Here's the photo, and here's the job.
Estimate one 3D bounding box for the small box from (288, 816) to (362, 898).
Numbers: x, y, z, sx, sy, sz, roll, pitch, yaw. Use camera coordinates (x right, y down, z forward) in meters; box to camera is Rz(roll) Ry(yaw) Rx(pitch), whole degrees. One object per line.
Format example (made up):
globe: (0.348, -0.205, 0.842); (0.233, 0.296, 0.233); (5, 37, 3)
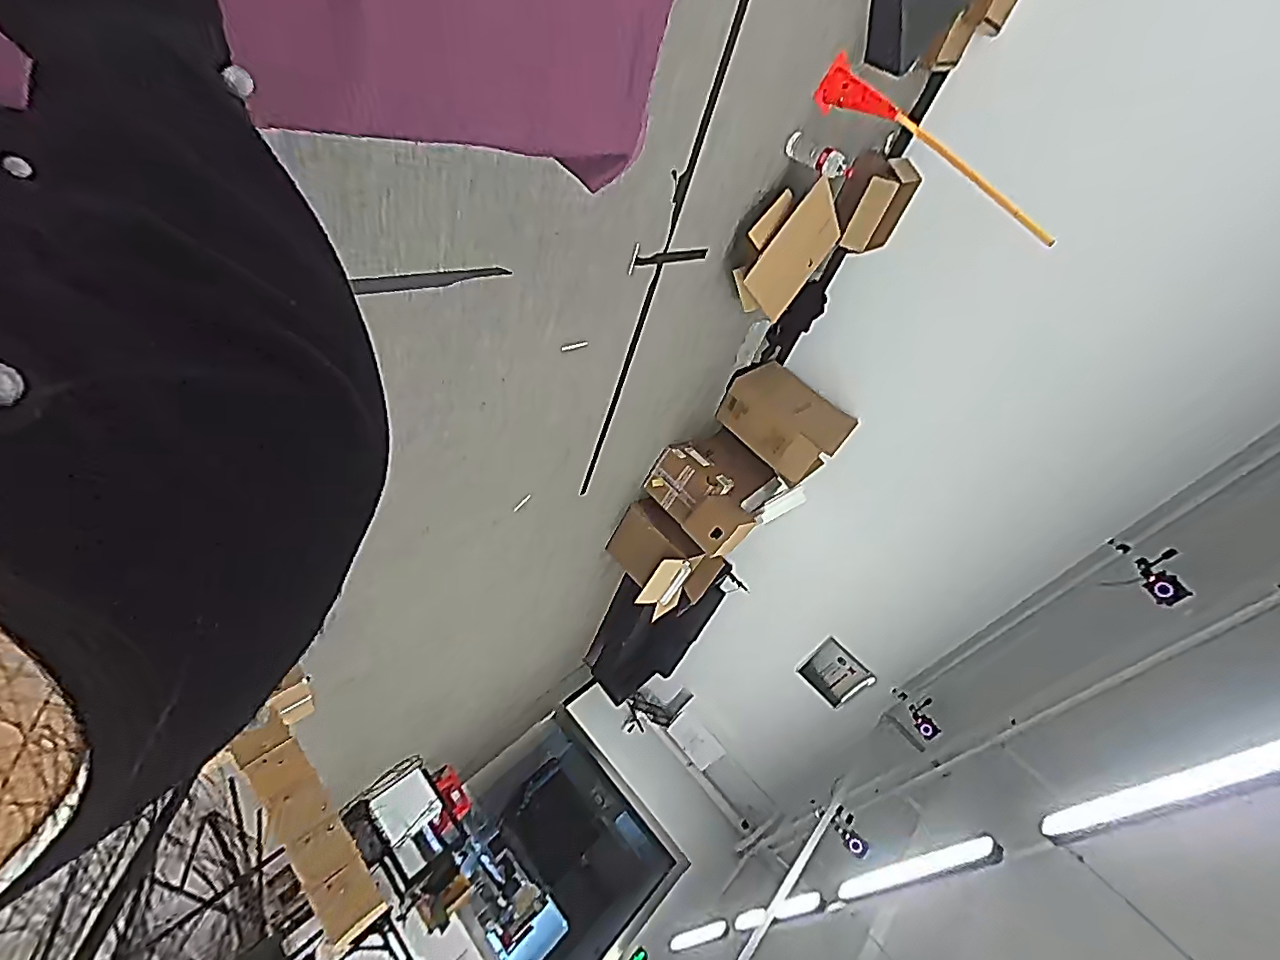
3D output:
small box: (-1.064, 1.280, 1.828); (0.168, 0.176, 0.179); (-26, 150, -43)

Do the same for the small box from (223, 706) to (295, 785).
small box: (-1.407, 0.981, 2.011); (0.179, 0.176, 0.168); (-27, 150, -40)

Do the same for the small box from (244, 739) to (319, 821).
small box: (-1.291, 1.076, 1.950); (0.168, 0.176, 0.179); (-28, 151, -41)

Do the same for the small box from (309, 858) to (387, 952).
small box: (-0.950, 1.382, 1.766); (0.168, 0.176, 0.179); (-29, 151, -41)
